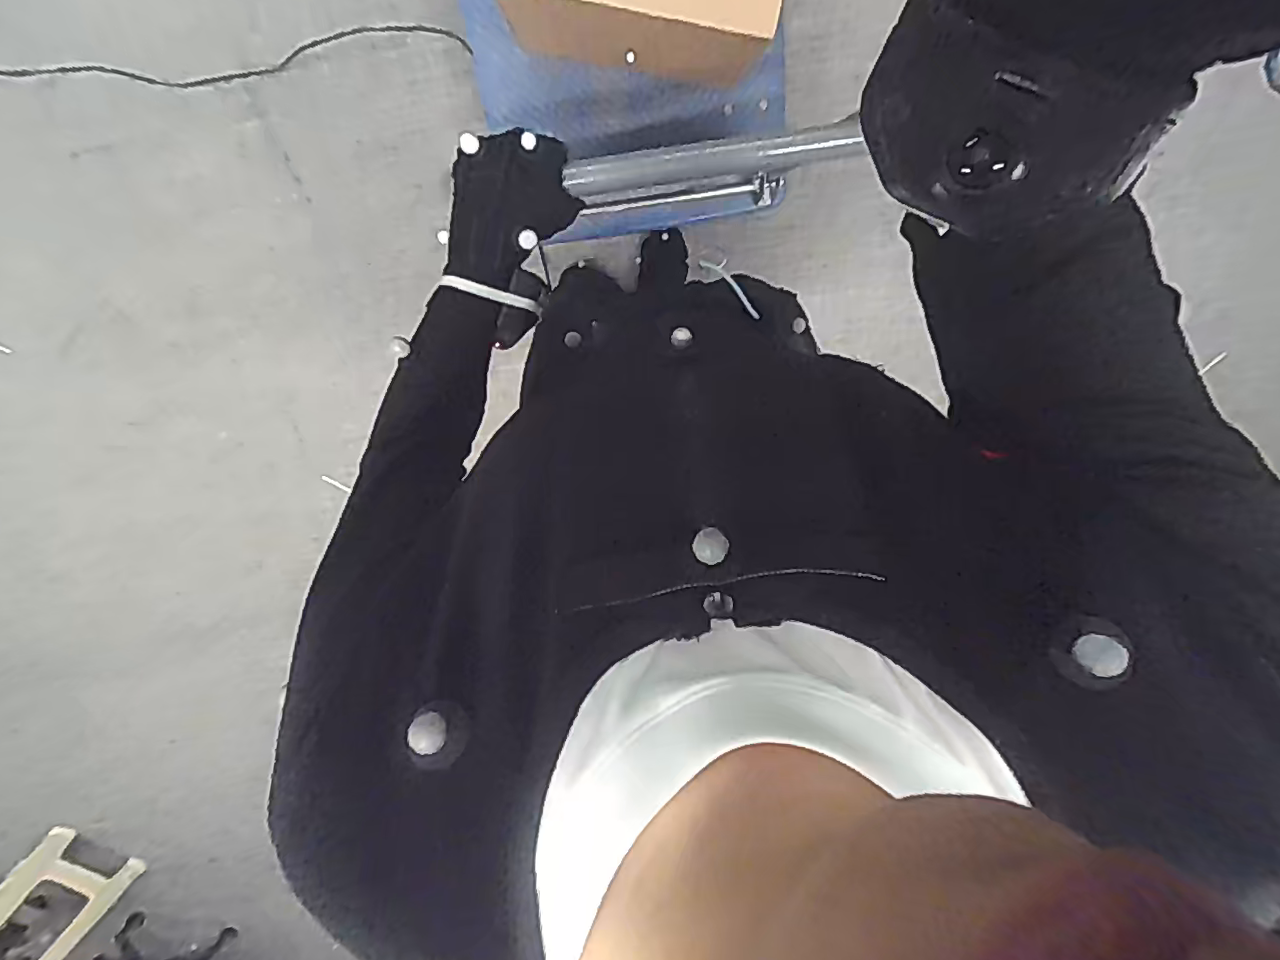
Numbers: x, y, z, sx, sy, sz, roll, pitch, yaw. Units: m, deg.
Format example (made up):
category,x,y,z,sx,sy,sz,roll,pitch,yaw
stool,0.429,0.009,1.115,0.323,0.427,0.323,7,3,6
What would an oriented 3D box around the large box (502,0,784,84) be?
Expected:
category,x,y,z,sx,sy,sz,roll,pitch,yaw
large box,0.017,-0.845,0.820,0.408,0.320,0.320,7,114,-4
